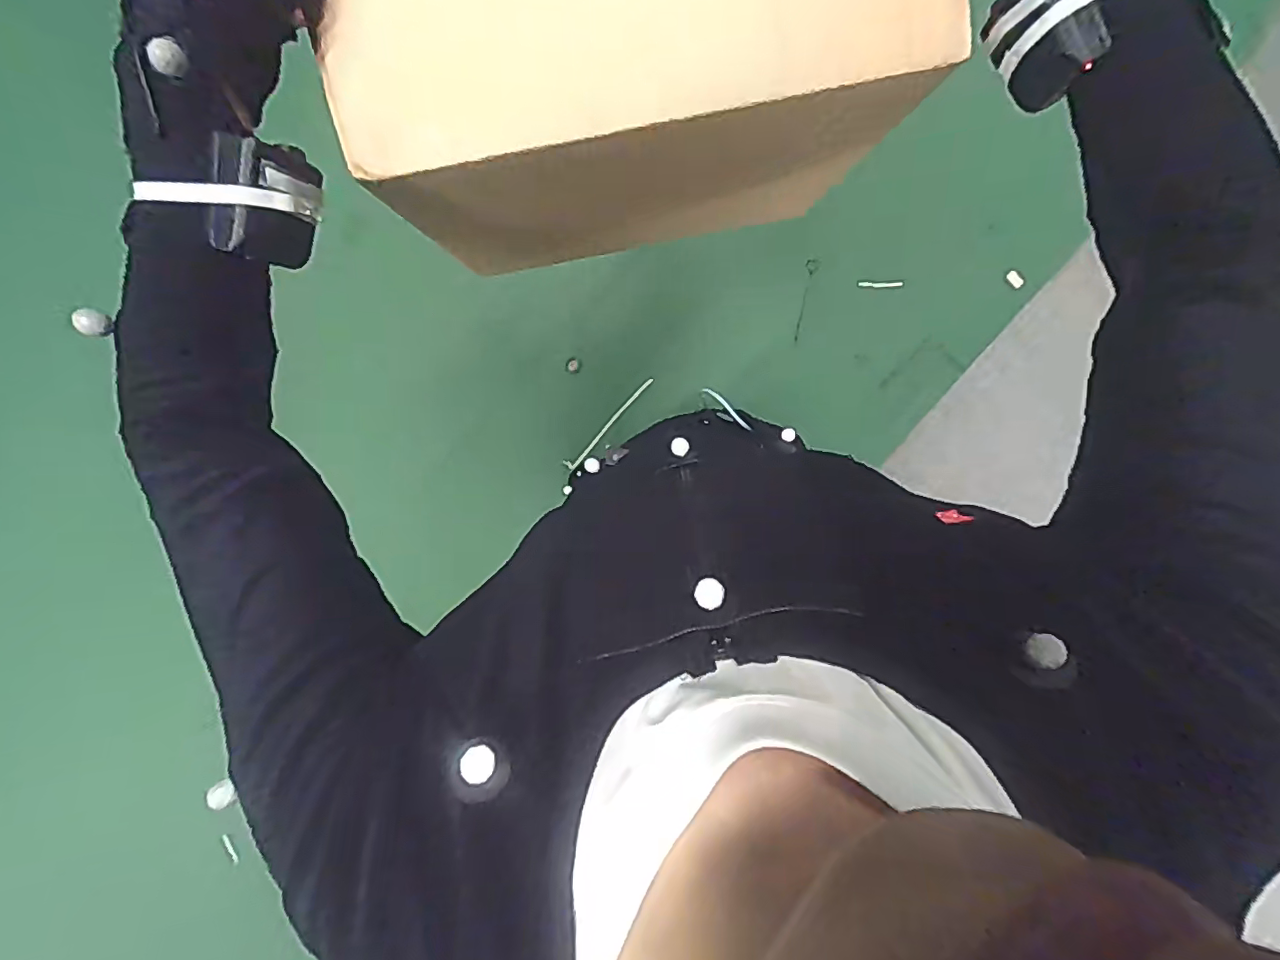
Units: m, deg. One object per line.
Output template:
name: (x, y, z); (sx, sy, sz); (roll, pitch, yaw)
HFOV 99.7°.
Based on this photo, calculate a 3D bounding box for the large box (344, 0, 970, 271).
large box: (-0.011, -0.412, 0.479); (0.408, 0.320, 0.320); (-11, 100, -1)
